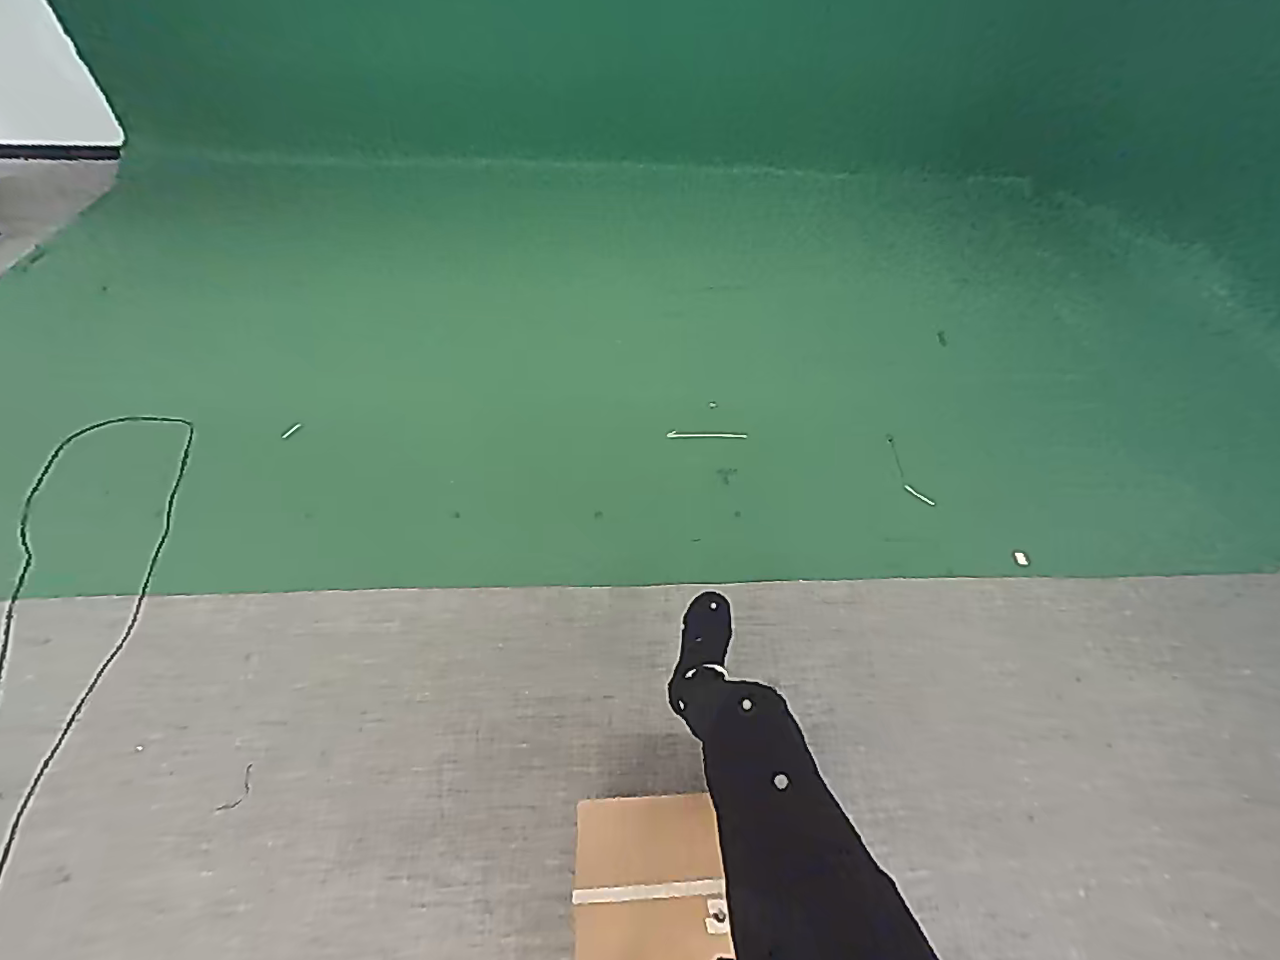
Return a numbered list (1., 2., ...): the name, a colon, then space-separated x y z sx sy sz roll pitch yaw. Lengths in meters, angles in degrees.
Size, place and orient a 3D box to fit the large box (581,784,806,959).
1. large box: 0.082 0.869 1.151 0.408 0.320 0.320 -2 51 -5
